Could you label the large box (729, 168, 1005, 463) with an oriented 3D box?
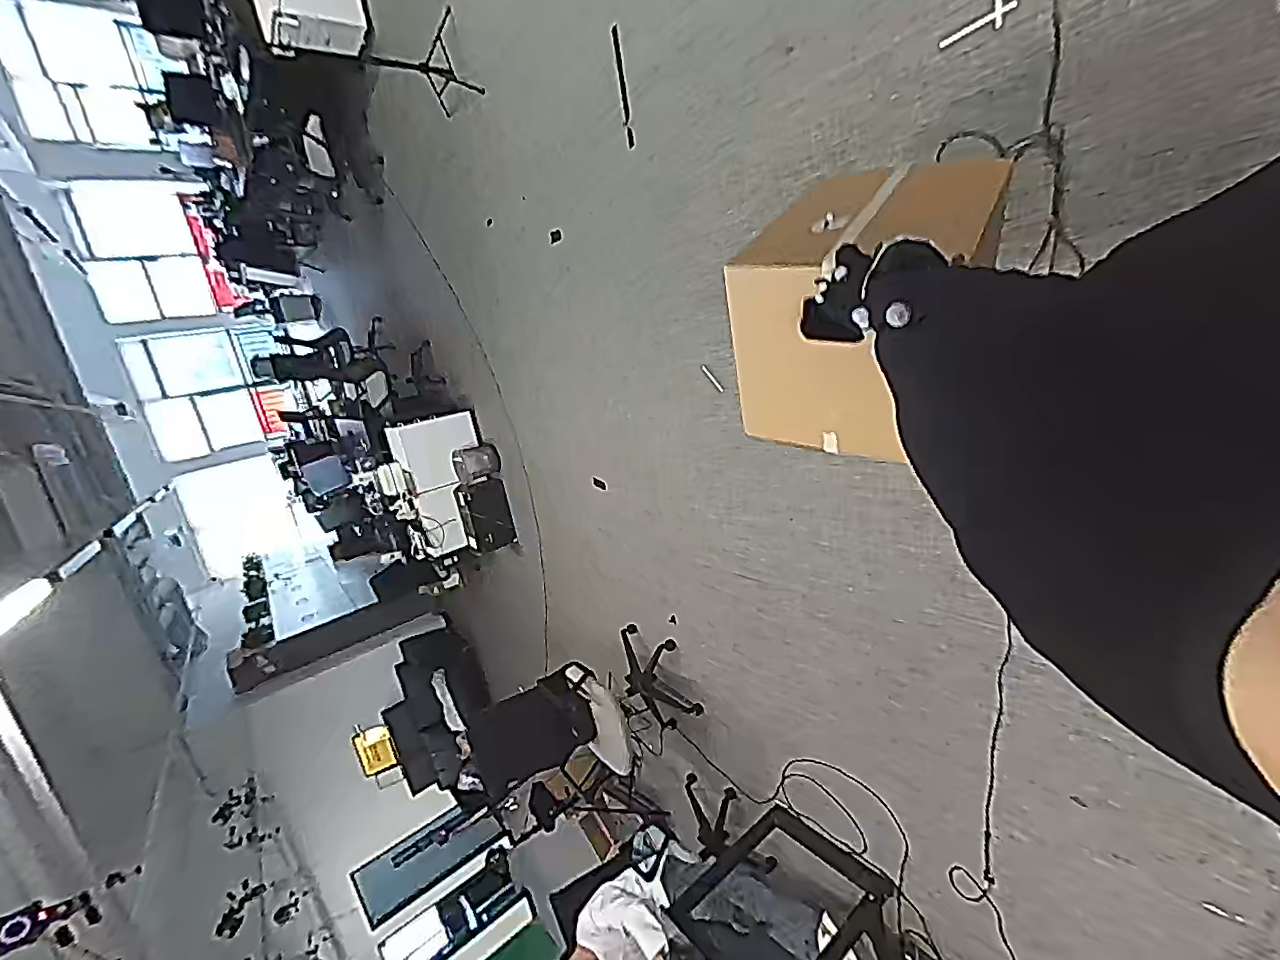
[{"bbox_3d":[0.393,-0.288,0.926,0.320,0.408,0.320,12,138,35],"label":"large box"}]
